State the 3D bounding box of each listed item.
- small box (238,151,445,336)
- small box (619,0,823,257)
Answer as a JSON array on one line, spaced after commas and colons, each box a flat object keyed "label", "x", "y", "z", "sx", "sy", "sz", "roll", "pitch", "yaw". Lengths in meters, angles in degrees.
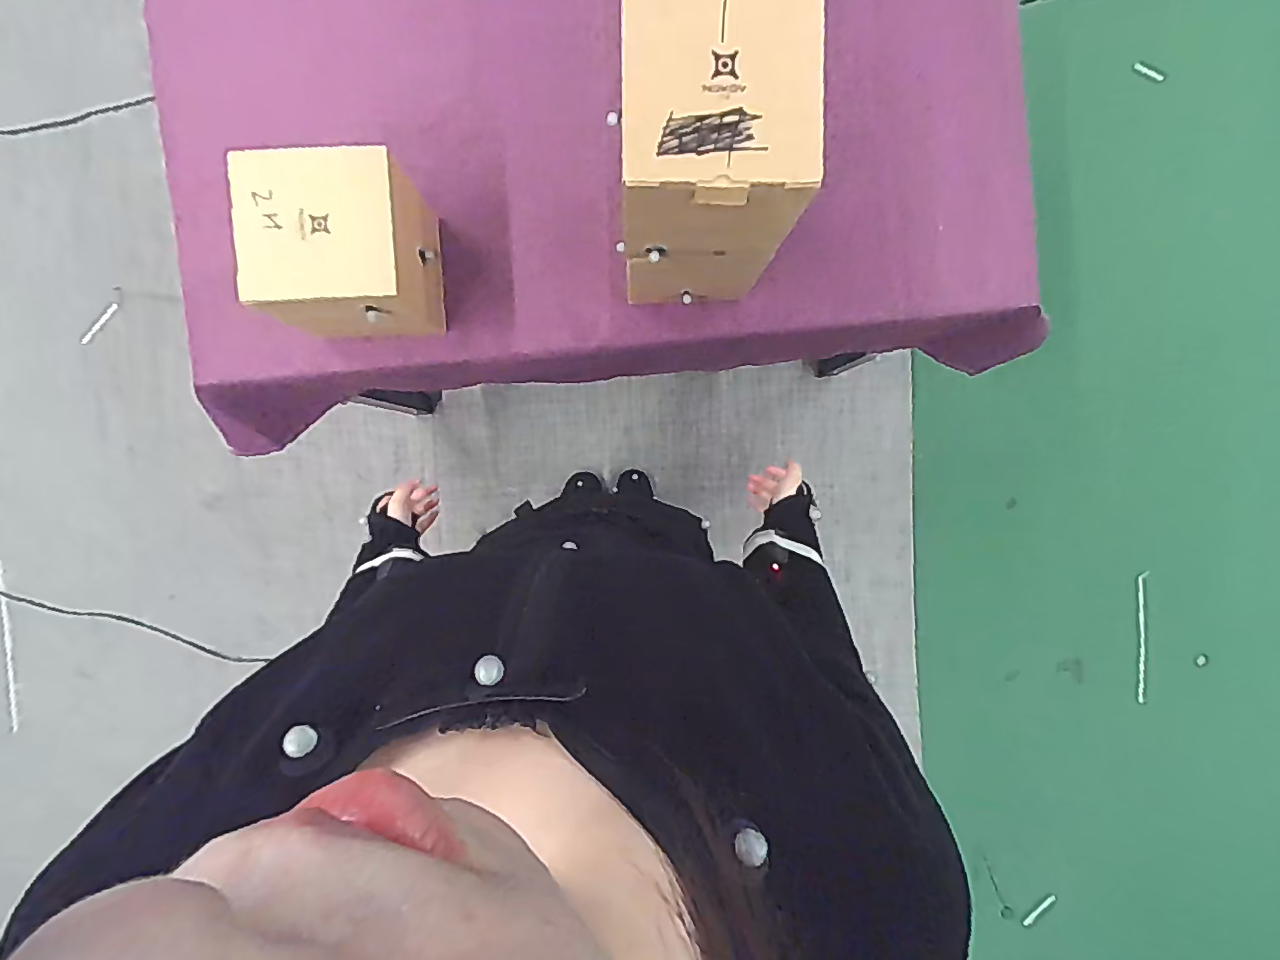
[{"label": "small box", "x": -0.356, "y": -0.284, "z": 0.681, "sx": 0.179, "sy": 0.176, "sz": 0.168, "roll": -3, "pitch": 91, "yaw": -1}, {"label": "small box", "x": 0.066, "y": -0.328, "z": 0.519, "sx": 0.168, "sy": 0.176, "sz": 0.179, "roll": 0, "pitch": 91, "yaw": 0}]
